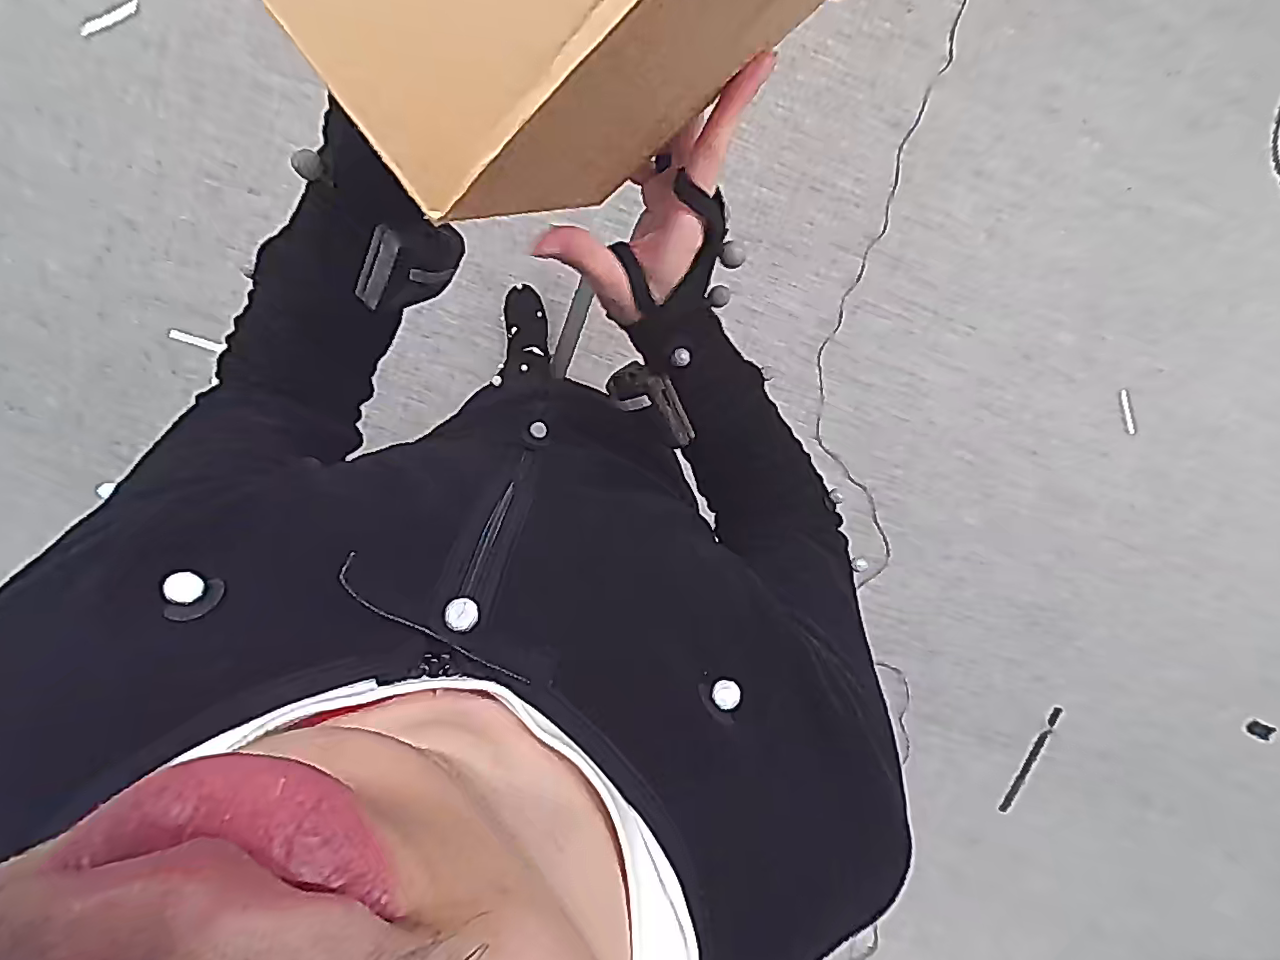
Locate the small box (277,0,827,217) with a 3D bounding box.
[{"bbox_3d":[-0.024,-0.220,0.183,0.179,0.176,0.168,-29,106,27],"label":"small box"}]
